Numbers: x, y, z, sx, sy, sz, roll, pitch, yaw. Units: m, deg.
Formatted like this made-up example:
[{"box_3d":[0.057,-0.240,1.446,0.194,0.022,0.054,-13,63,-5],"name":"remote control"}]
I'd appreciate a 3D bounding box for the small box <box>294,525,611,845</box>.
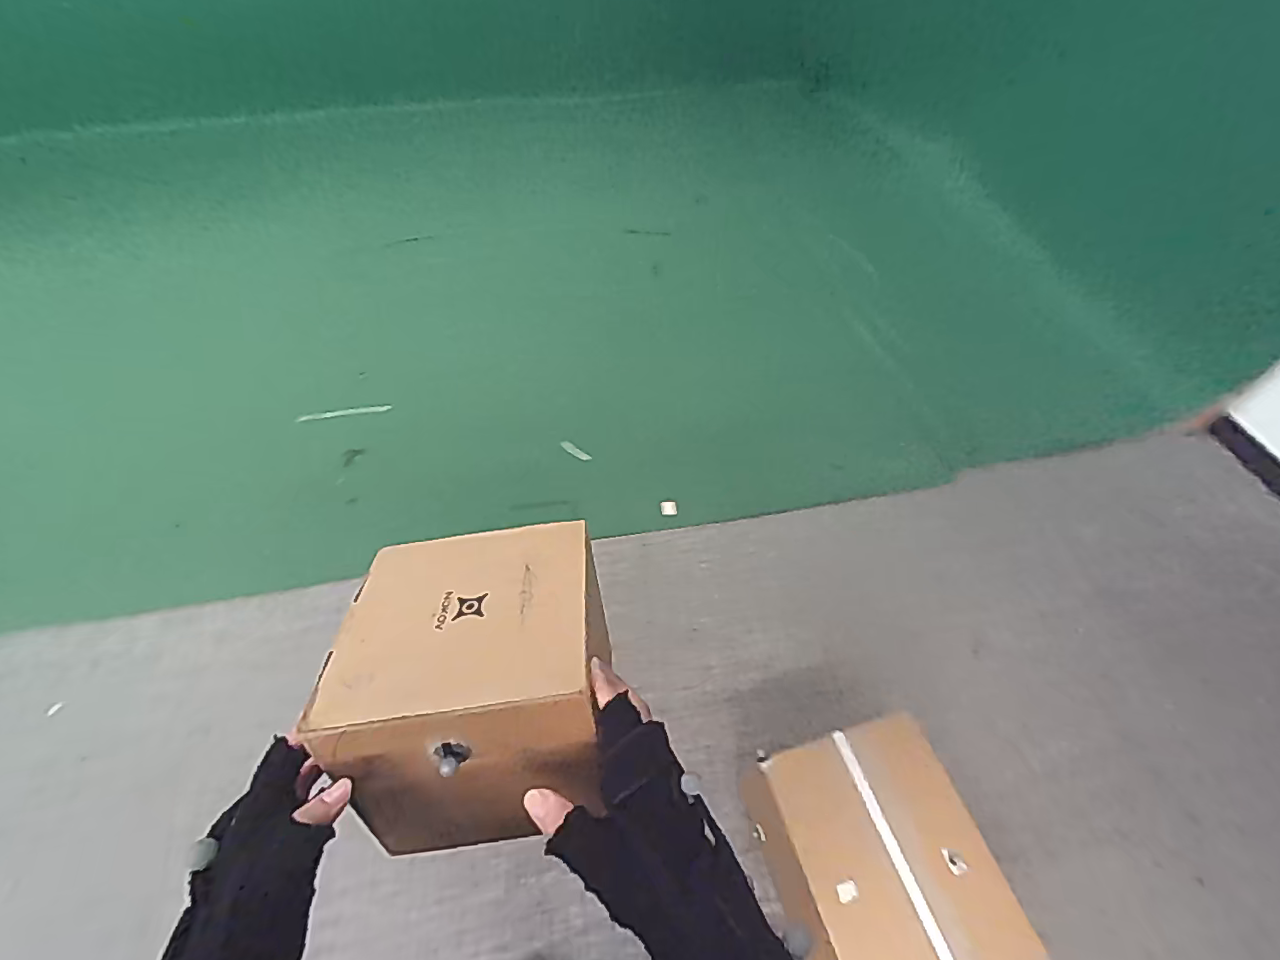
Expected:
[{"box_3d":[-0.125,0.162,0.437,0.179,0.176,0.168,-8,34,-3],"name":"small box"}]
